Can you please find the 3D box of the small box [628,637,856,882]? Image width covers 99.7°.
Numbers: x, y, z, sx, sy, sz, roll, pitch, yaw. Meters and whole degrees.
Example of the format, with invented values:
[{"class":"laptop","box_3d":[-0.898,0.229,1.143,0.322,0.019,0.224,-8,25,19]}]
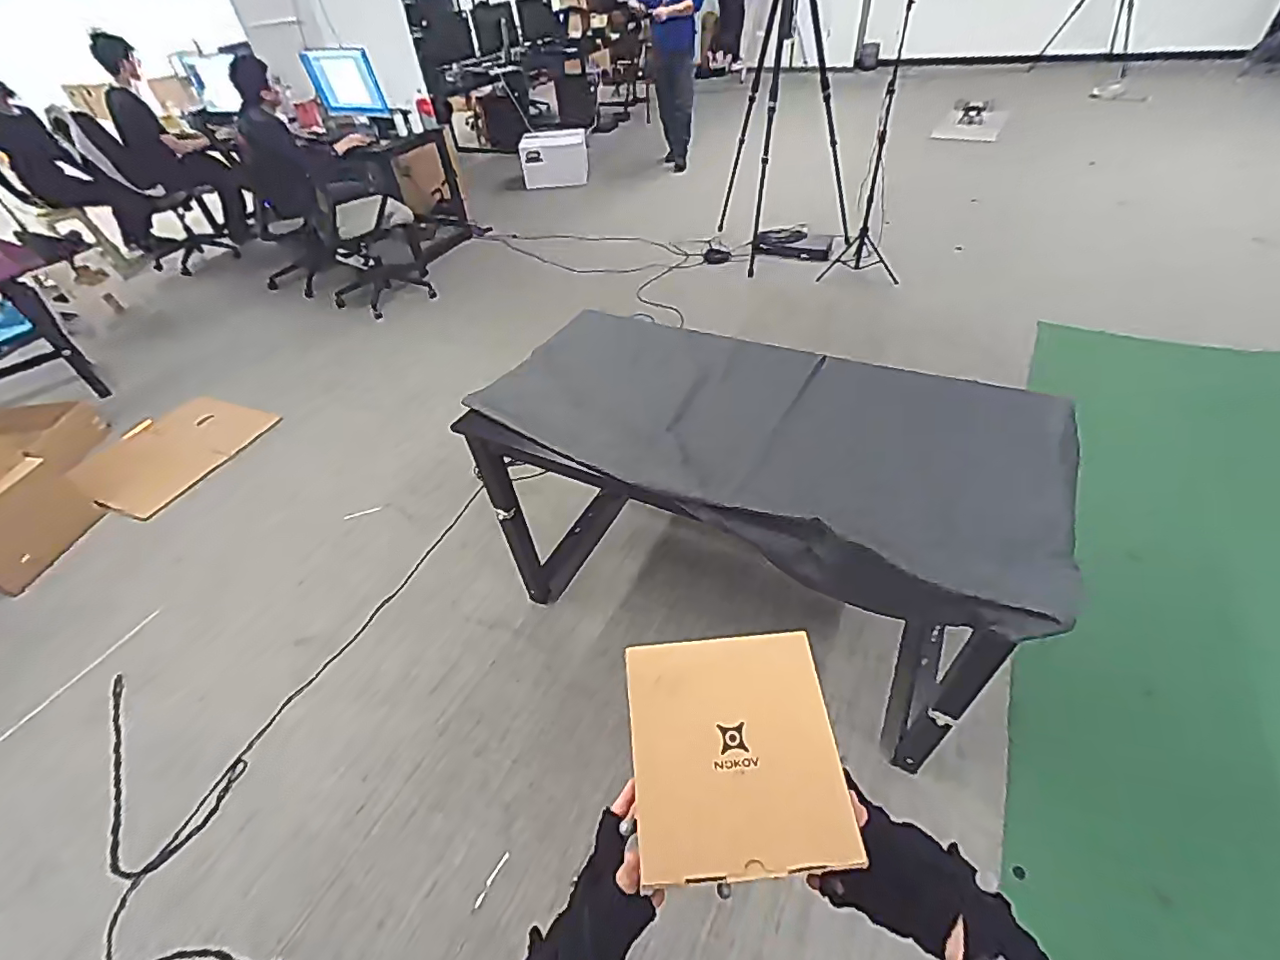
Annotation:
[{"class":"small box","box_3d":[0.073,0.265,0.509,0.168,0.176,0.179,-4,55,-2]}]
